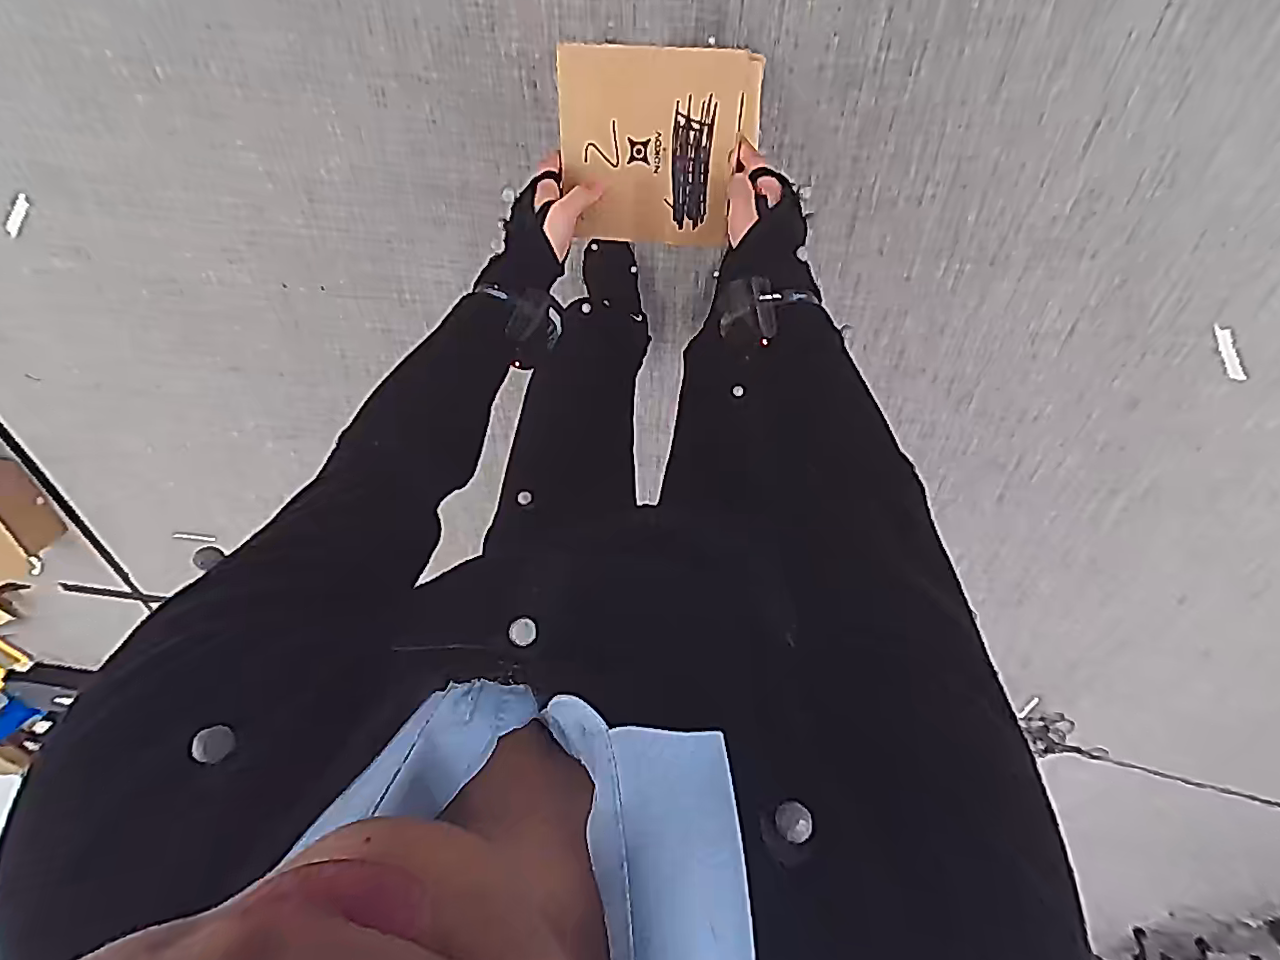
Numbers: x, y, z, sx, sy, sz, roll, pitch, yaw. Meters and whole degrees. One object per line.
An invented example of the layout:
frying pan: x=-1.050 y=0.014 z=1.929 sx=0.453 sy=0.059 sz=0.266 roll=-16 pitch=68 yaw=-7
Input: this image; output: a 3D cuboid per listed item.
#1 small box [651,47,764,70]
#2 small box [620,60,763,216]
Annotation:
small box: x=0.101 y=-0.591 z=0.885 sx=0.168 sy=0.176 sz=0.179 roll=7 pitch=128 yaw=2
small box: x=0.075 y=-0.484 z=0.764 sx=0.179 sy=0.176 sz=0.168 roll=1 pitch=128 yaw=9
